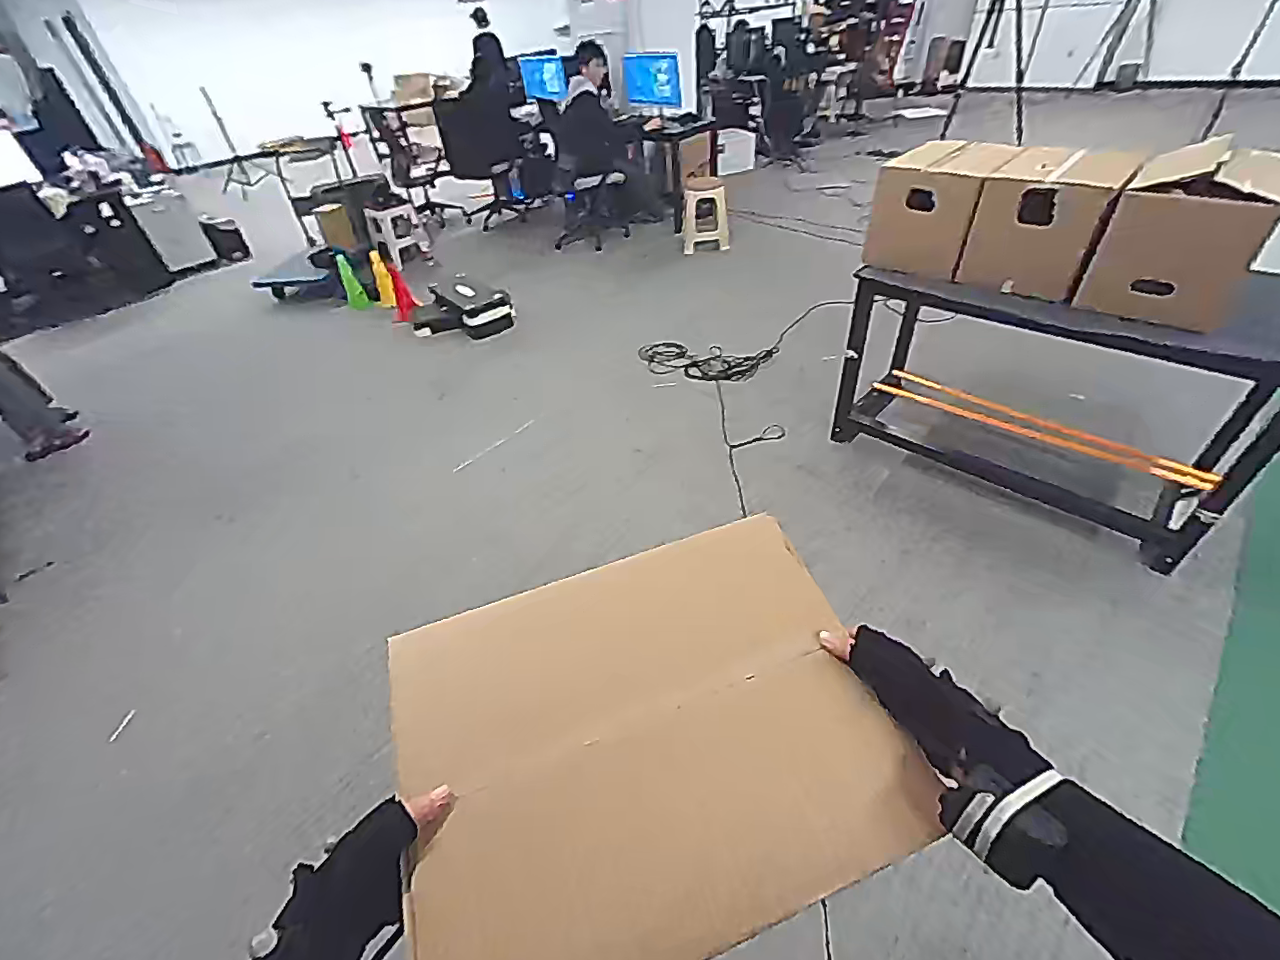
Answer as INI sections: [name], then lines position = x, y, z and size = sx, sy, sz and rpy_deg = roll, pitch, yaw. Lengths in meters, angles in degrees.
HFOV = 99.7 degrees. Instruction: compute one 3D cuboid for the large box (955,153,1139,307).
[large box]
position = 1.244, -0.782, 1.671
size = 0.320, 0.320, 0.408
rpy_deg = 28, 52, 34
